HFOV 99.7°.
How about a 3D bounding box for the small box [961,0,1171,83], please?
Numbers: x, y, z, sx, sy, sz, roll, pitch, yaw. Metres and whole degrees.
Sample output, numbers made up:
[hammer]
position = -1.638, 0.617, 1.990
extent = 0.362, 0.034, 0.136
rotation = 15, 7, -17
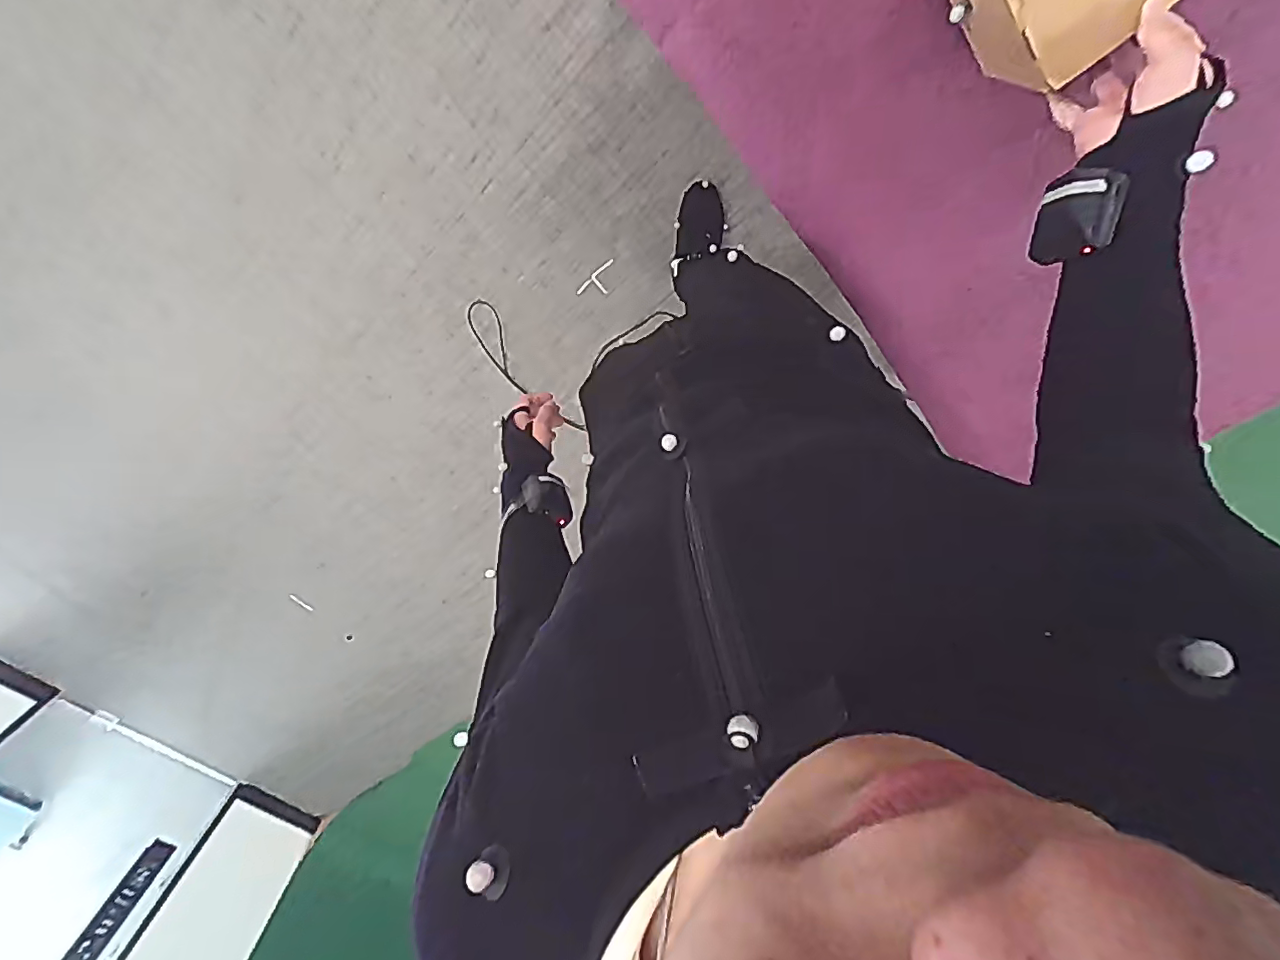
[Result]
[small box]
position = 0.384, -0.489, 0.456
extent = 0.179, 0.176, 0.168
rotation = -31, 119, 32
